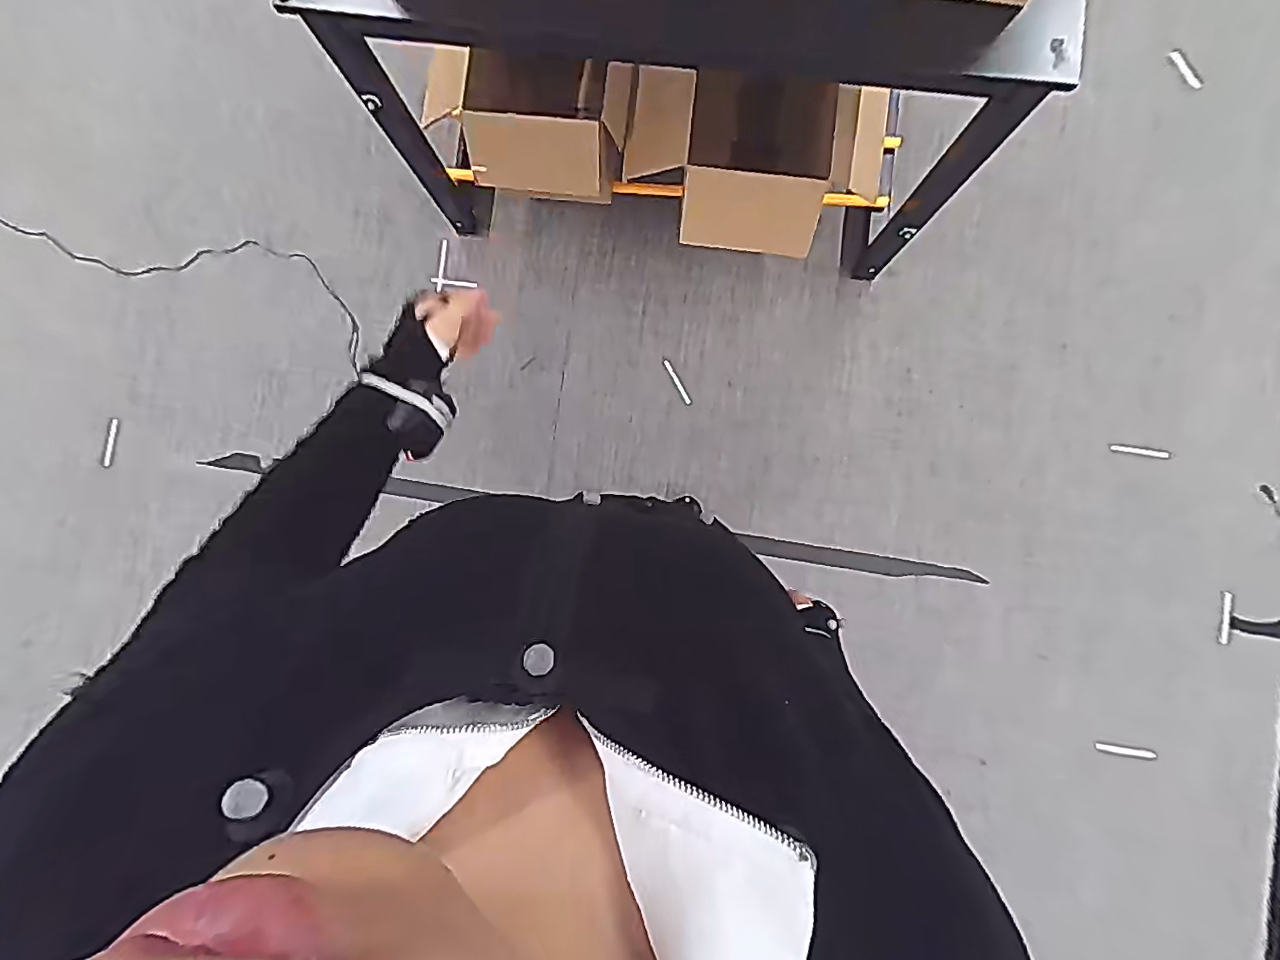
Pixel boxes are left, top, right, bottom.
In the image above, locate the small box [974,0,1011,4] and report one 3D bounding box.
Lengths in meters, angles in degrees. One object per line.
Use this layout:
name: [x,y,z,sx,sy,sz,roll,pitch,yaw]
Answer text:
small box: [0.486,-0.785,0.714,0.179,0.176,0.168,9,86,2]
